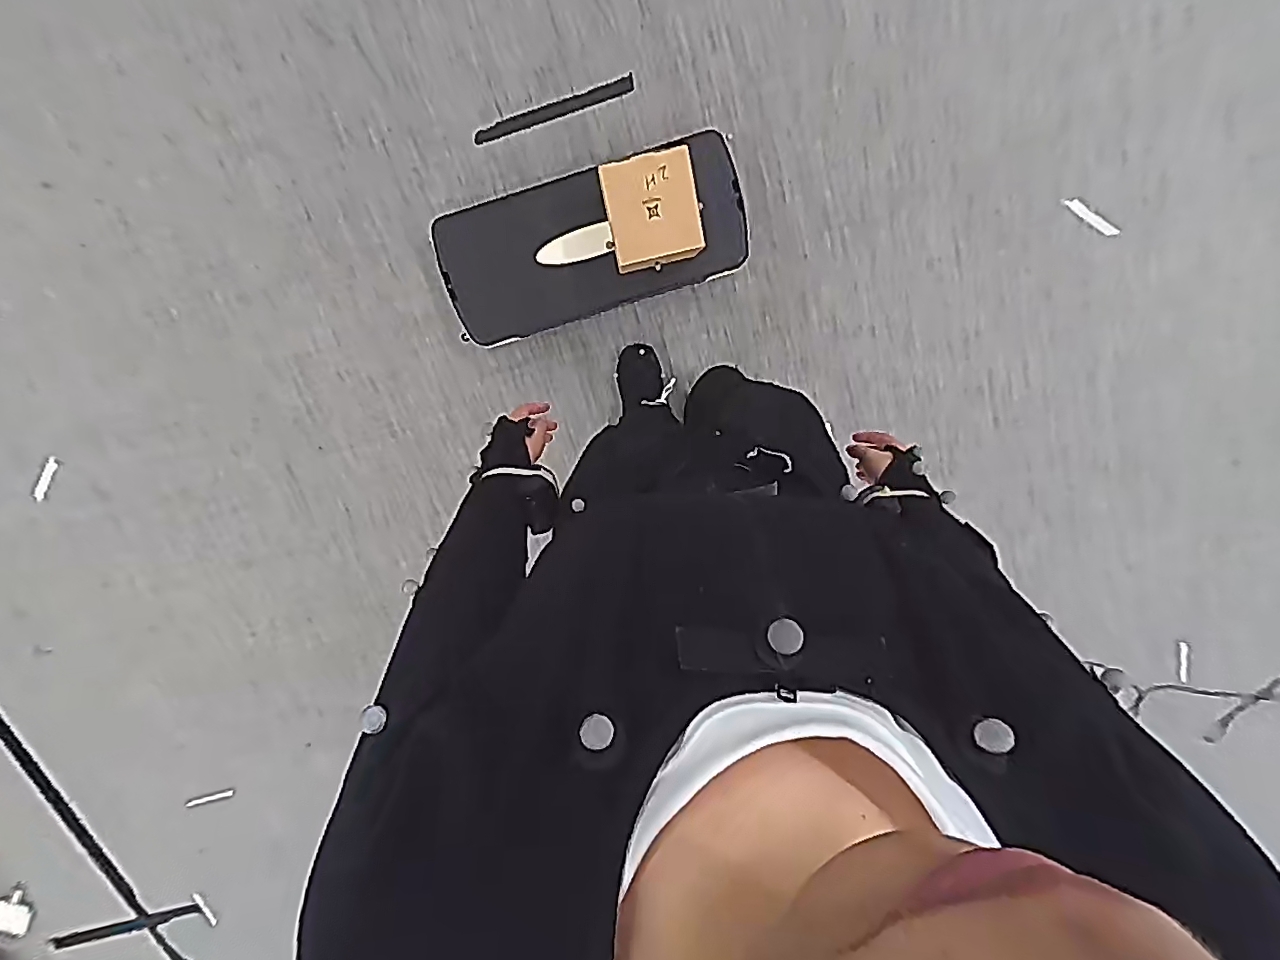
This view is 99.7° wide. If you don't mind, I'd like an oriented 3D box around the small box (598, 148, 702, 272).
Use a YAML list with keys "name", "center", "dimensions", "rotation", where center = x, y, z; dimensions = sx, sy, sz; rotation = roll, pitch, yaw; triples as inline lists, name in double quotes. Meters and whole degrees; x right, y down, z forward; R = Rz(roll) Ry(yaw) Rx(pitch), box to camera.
- name: "small box"
  center: [0.019, -0.517, 1.063]
  dimensions: [0.168, 0.176, 0.179]
  rotation: [-13, 106, 1]
